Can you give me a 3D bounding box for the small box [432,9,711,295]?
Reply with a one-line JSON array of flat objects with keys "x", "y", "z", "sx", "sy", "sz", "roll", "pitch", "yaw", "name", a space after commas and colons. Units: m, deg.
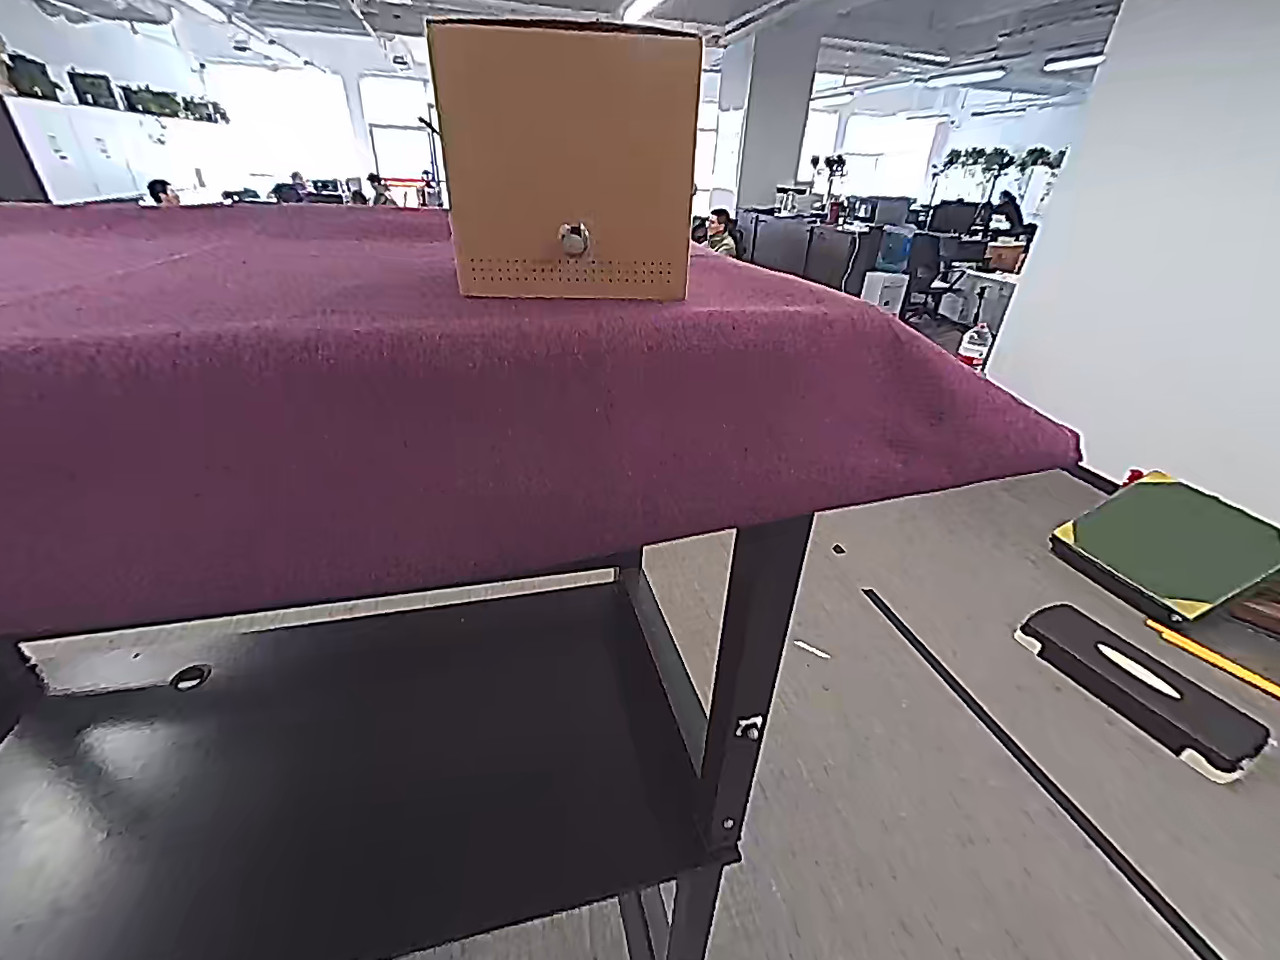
[{"x": -0.050, "y": -0.252, "z": 0.443, "sx": 0.179, "sy": 0.176, "sz": 0.168, "roll": 0, "pitch": 29, "yaw": -5, "name": "small box"}]
